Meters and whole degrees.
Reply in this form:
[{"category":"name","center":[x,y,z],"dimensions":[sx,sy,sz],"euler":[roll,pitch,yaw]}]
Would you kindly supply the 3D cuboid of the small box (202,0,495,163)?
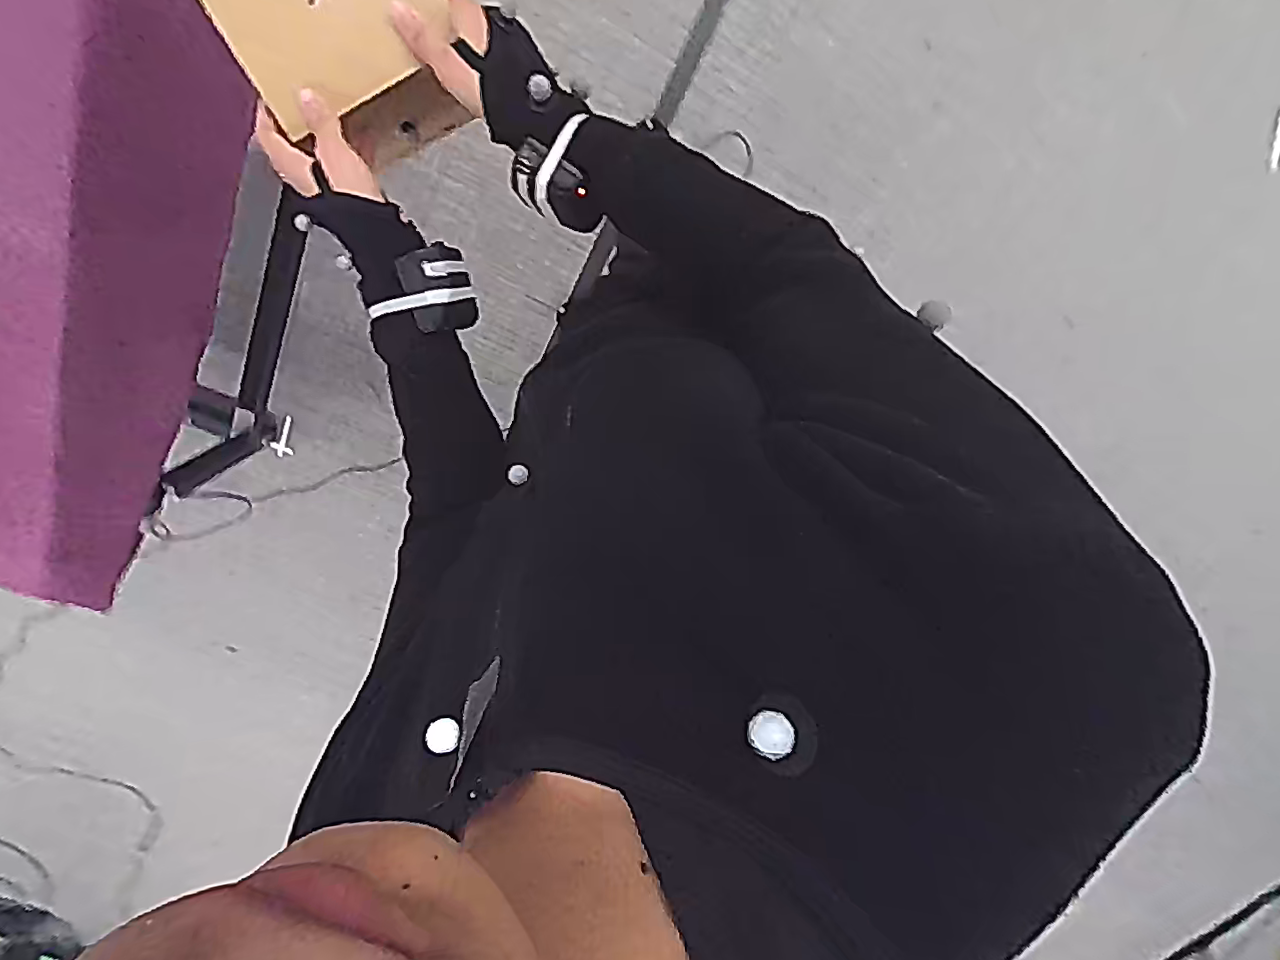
[{"category":"small box","center":[-0.246,-0.401,0.465],"dimensions":[0.168,0.176,0.179],"euler":[-26,110,5]}]
